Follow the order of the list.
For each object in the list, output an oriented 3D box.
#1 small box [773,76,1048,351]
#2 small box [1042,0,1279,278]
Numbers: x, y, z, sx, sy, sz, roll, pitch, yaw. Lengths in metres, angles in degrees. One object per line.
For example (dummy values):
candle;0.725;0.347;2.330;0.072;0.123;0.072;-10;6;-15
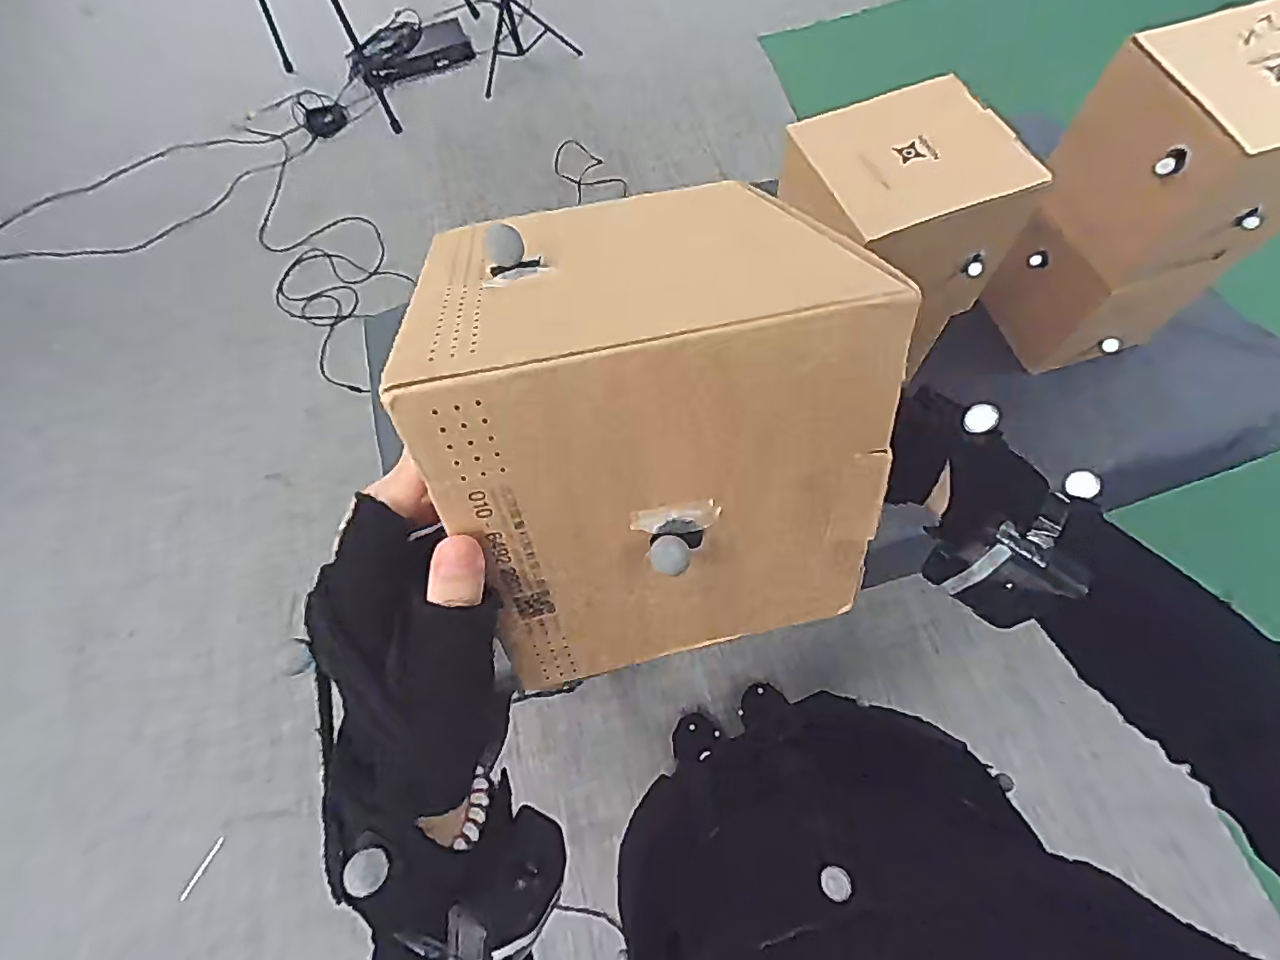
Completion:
small box;0.257;-0.267;0.568;0.179;0.176;0.168;-19;66;-1
small box;0.571;-0.334;0.558;0.168;0.176;0.179;-14;67;1
